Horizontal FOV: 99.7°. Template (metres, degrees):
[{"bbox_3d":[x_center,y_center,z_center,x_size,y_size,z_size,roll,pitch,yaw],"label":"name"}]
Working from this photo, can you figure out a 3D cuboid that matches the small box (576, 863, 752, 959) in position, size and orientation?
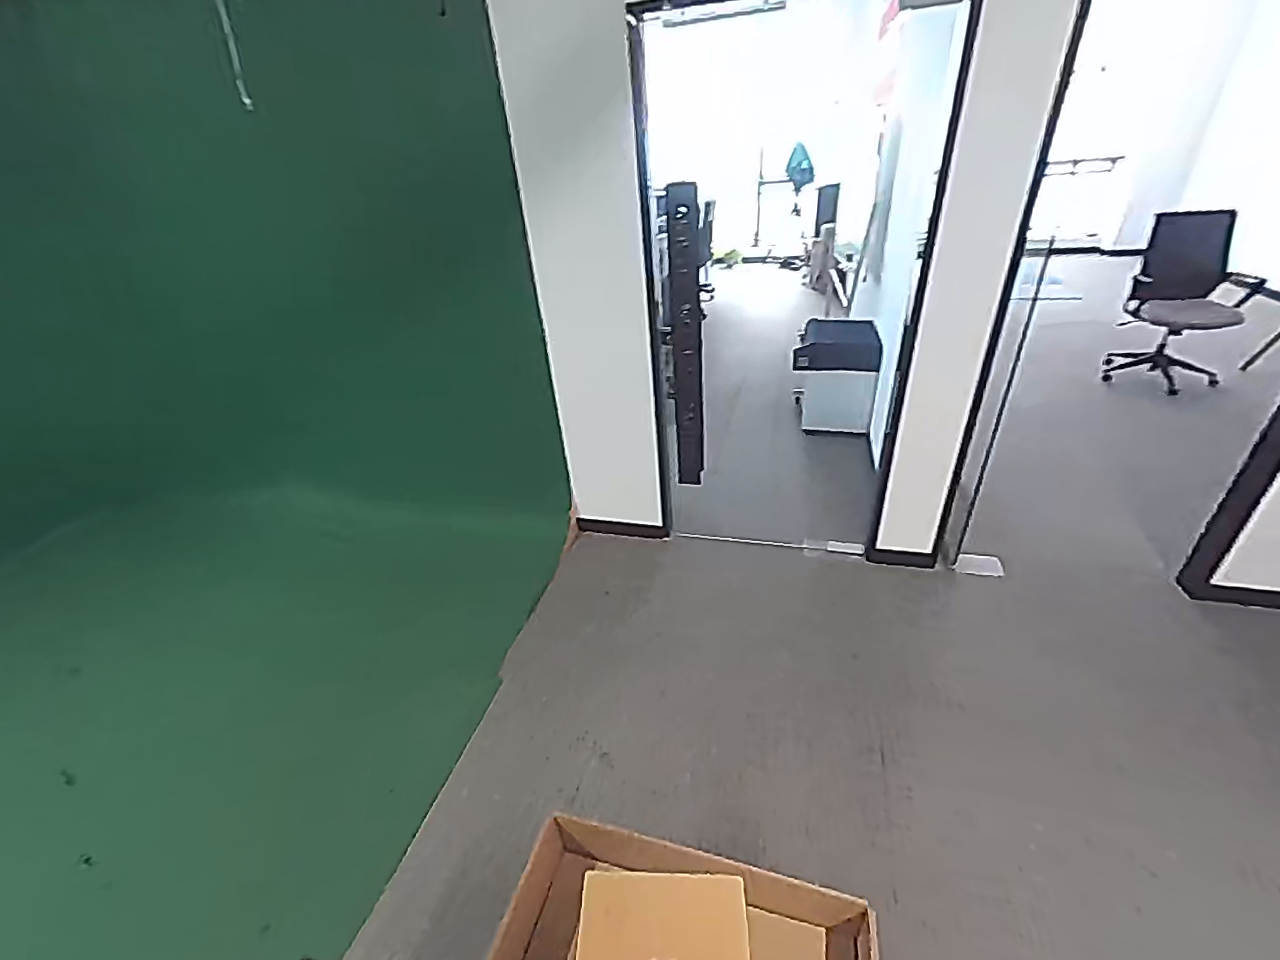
[{"bbox_3d":[0.023,0.516,0.535,0.168,0.176,0.179,0,36,3],"label":"small box"}]
